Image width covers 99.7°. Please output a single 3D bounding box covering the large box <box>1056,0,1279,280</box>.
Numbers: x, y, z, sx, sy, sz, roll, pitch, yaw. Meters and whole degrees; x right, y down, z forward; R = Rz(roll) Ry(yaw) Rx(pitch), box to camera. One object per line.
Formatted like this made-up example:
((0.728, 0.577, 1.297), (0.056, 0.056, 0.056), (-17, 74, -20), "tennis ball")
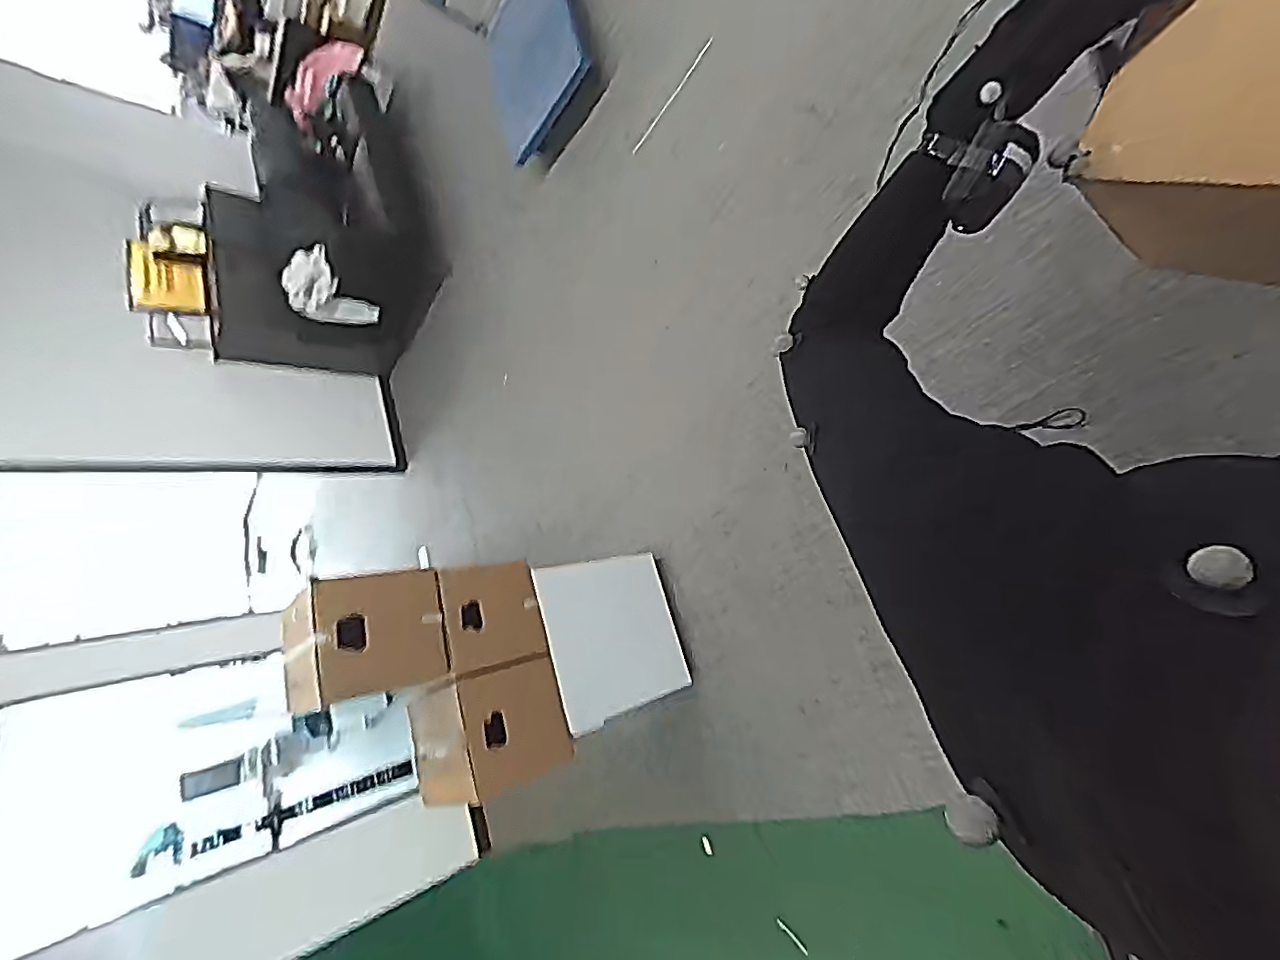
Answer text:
((0.571, -0.282, 0.298), (0.408, 0.320, 0.320), (35, 118, 46), "large box")
